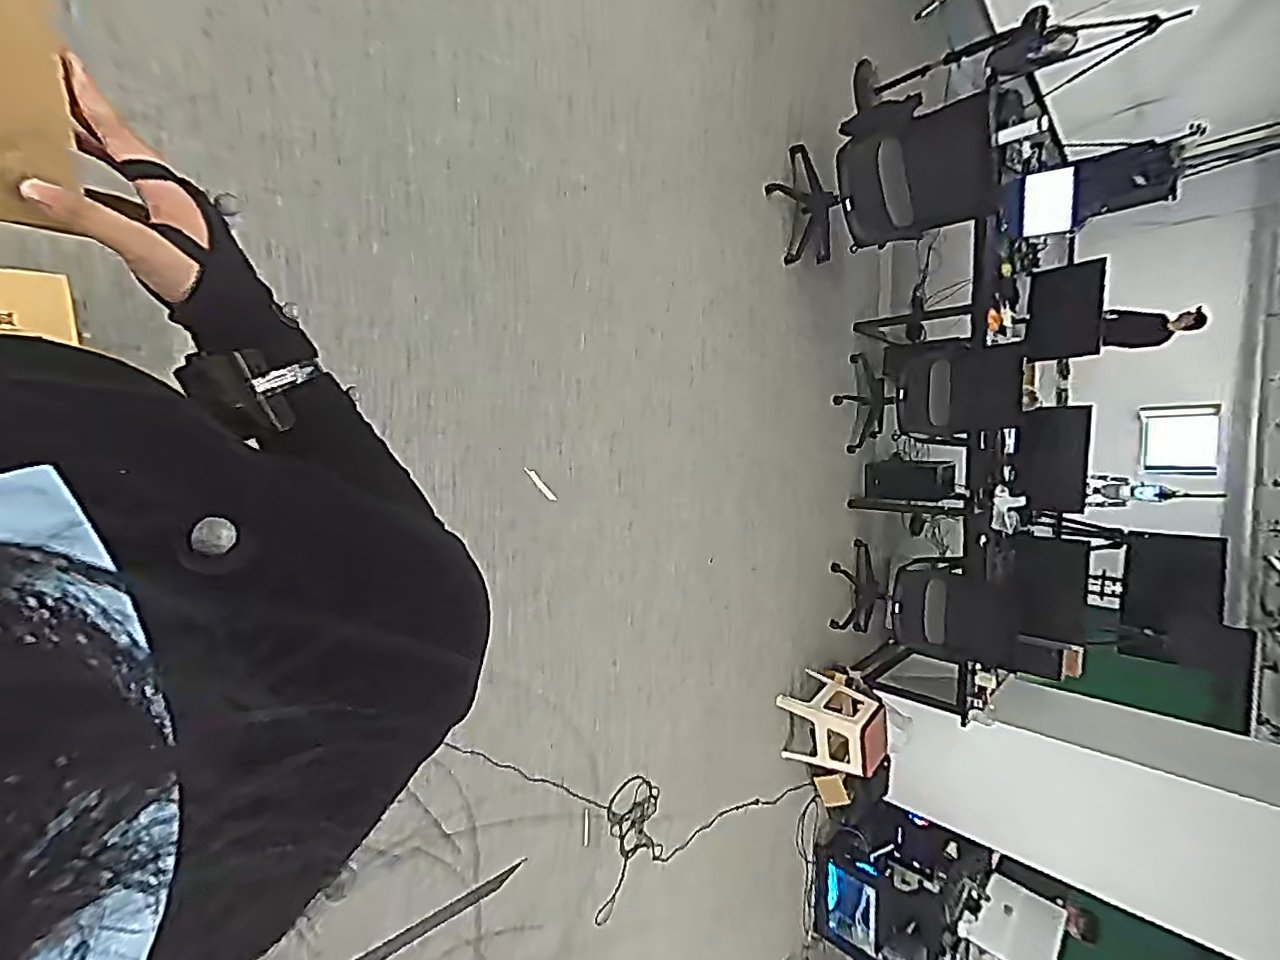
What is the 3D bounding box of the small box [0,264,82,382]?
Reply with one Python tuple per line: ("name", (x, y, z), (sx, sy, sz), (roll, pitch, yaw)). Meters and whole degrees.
("small box", (-1.102, -0.268, 0.939), (0.168, 0.176, 0.179), (-10, 100, -45))
